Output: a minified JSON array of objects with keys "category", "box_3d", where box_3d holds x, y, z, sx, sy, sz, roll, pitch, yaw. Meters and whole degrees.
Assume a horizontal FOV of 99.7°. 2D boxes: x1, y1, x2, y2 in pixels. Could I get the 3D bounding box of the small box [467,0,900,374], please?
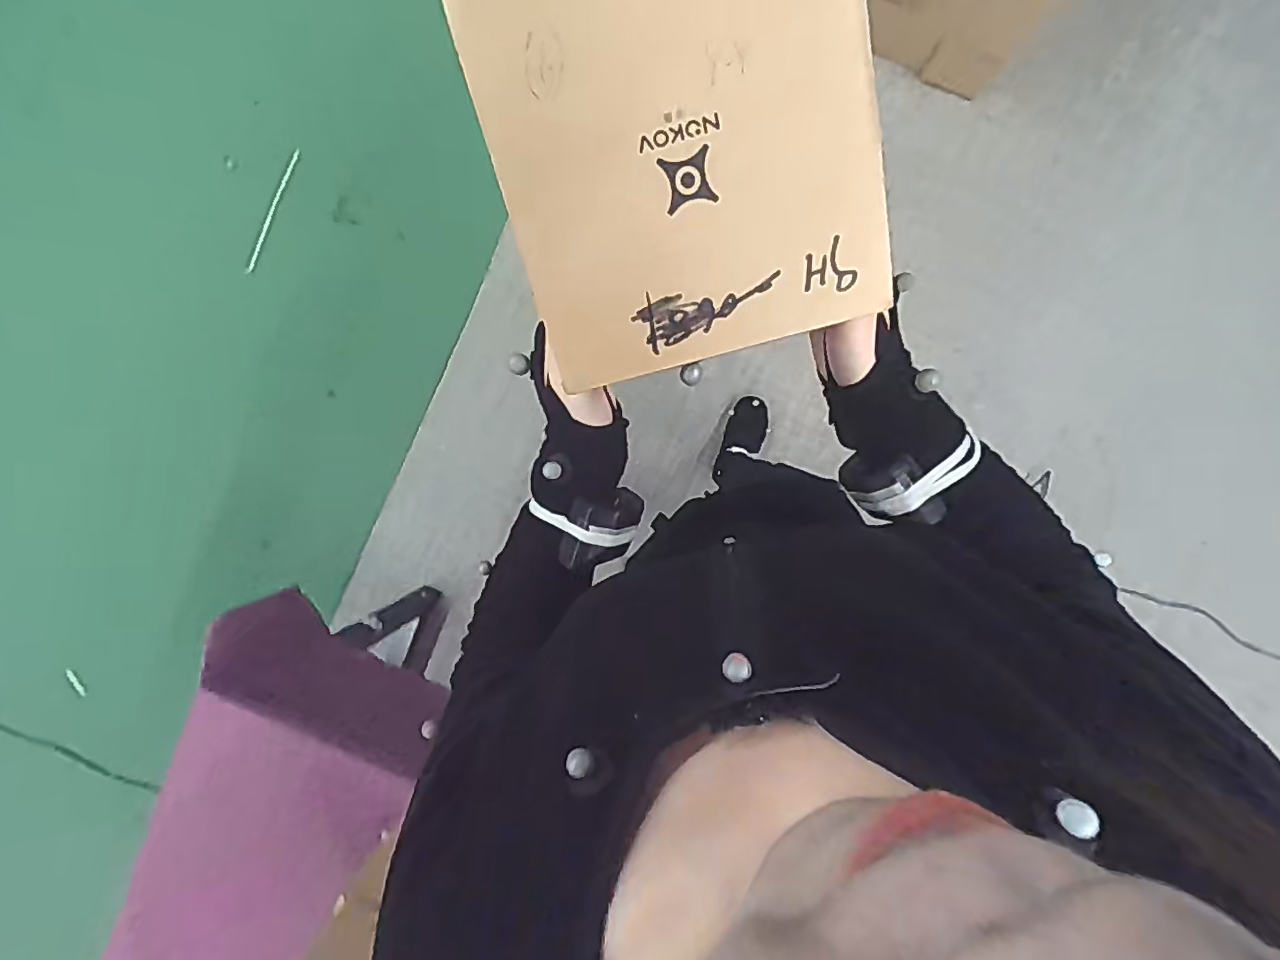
[{"category":"small box","box_3d":[0.024,-0.173,0.310,0.168,0.176,0.179,-13,109,6]}]
